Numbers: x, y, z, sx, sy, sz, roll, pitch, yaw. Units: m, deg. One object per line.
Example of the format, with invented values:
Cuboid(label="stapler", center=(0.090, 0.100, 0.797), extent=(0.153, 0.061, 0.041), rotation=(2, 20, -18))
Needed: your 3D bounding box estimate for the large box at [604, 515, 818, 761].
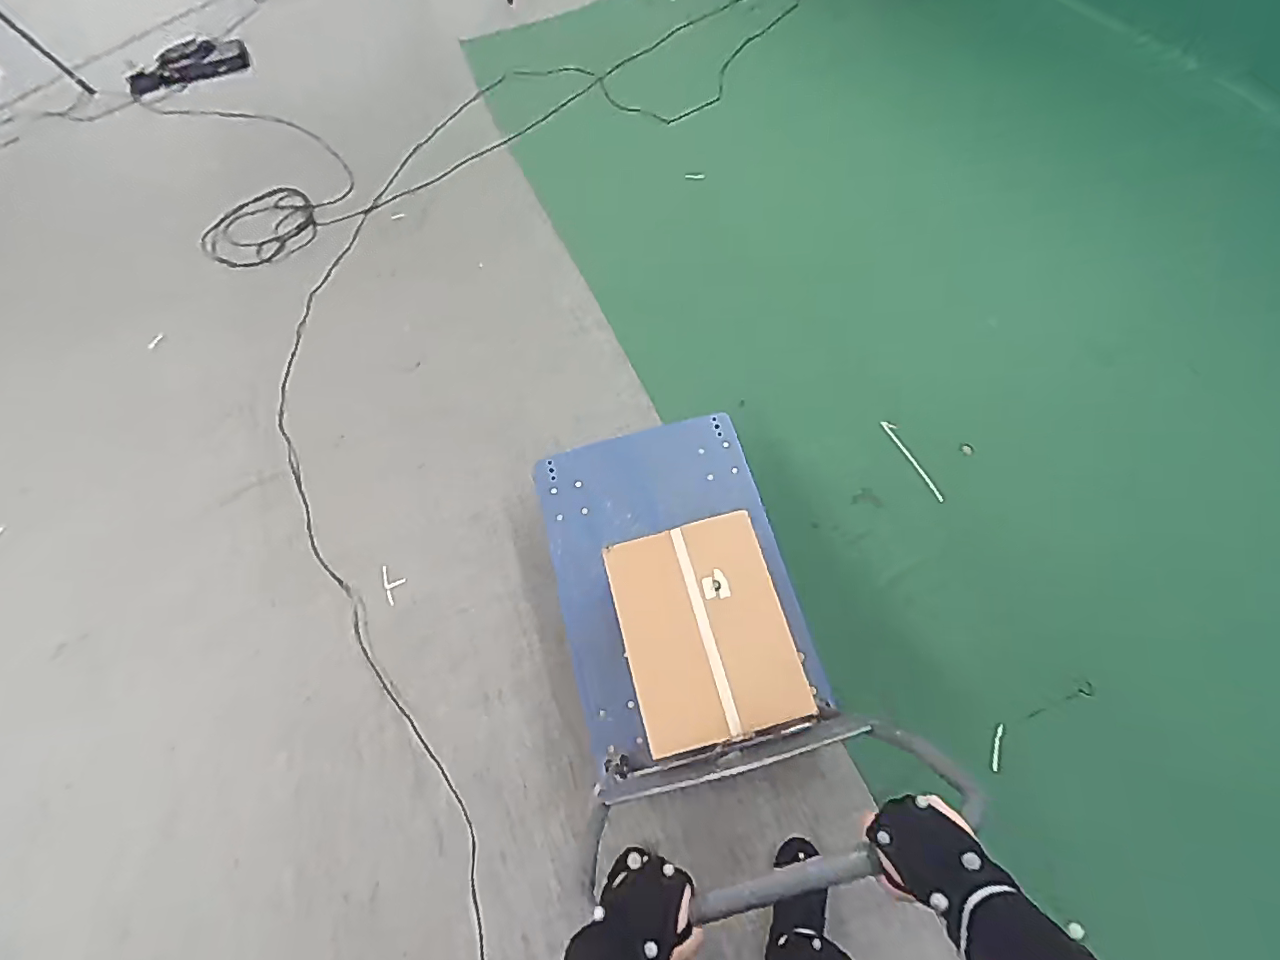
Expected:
Cuboid(label="large box", center=(0.137, 0.345, 1.184), extent=(0.320, 0.320, 0.408), rotation=(-15, 67, -3))
